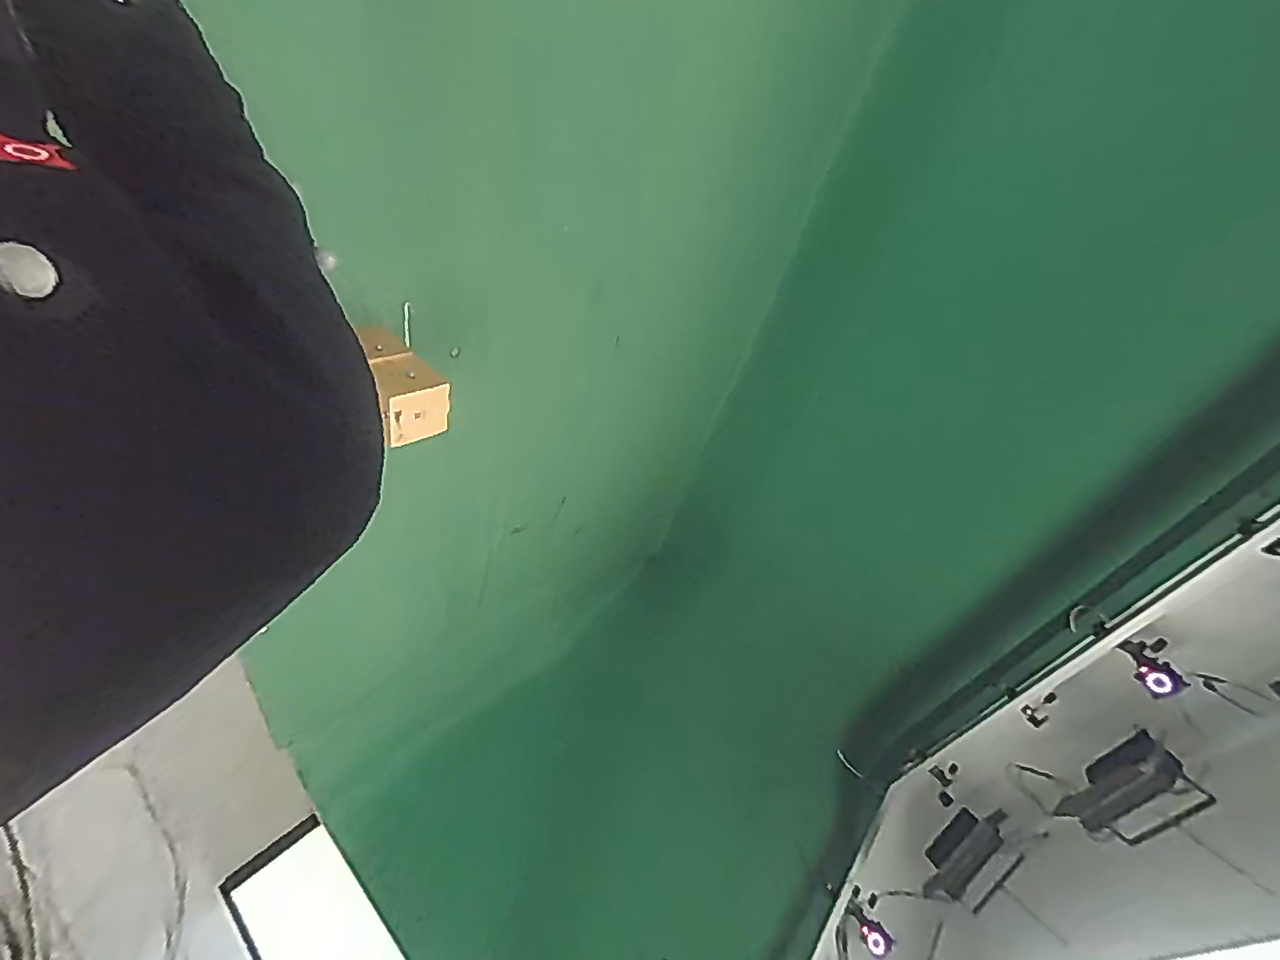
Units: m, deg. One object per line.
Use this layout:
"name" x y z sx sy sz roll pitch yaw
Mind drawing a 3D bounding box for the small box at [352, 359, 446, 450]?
"small box" -0.665 -0.216 1.497 0.179 0.176 0.168 -30 148 -44

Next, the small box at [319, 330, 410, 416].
"small box" -0.786 -0.313 1.551 0.179 0.176 0.168 -27 146 -43
